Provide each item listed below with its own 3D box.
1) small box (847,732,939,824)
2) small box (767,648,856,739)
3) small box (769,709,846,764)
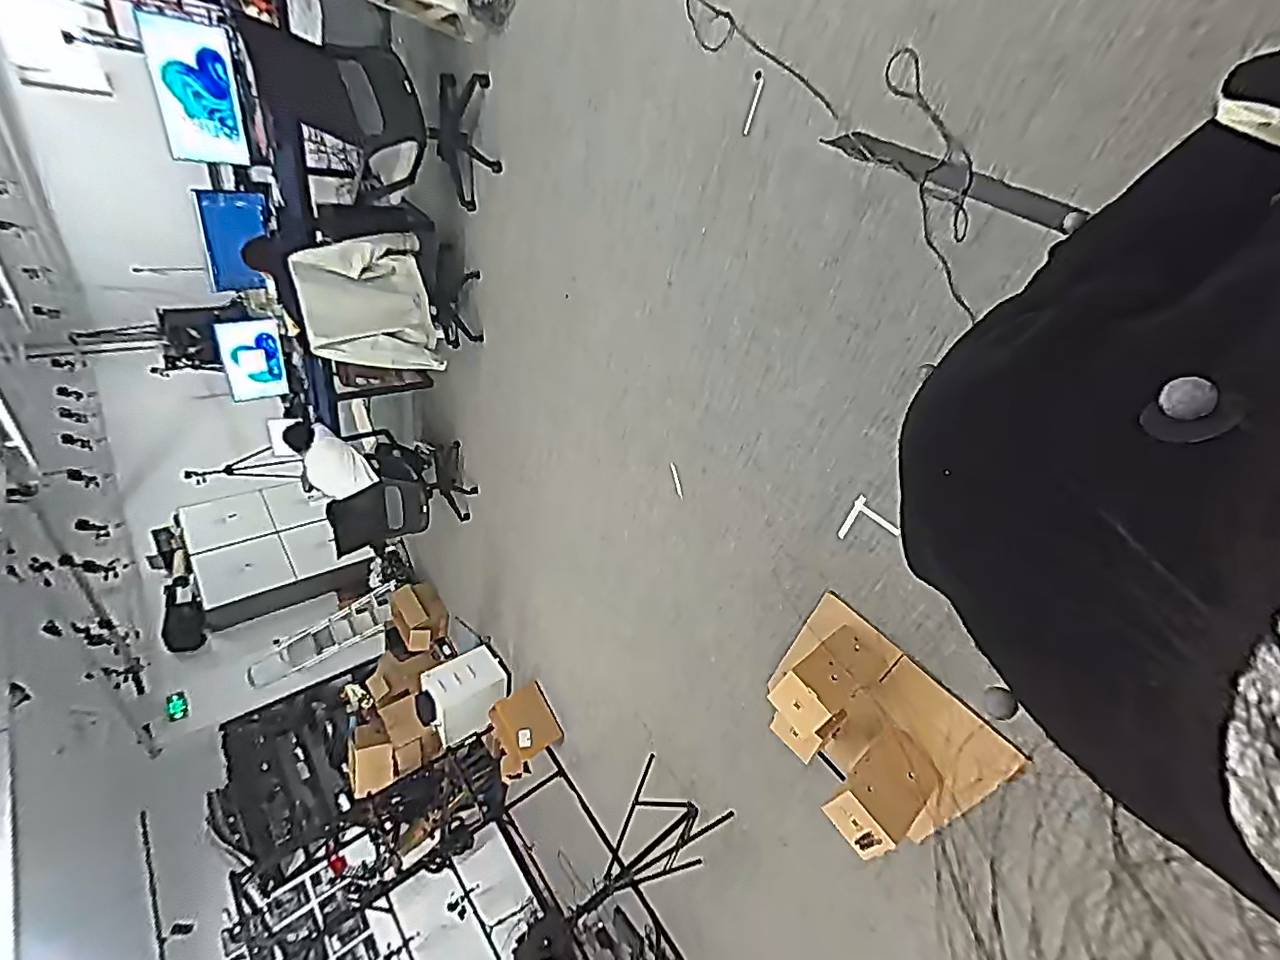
[{"bbox_3d":[0.813,0.951,1.732,0.179,0.176,0.168,49,137,24],"label":"small box"},{"bbox_3d":[0.538,0.662,1.686,0.168,0.176,0.179,46,135,29],"label":"small box"},{"bbox_3d":[0.606,0.873,1.958,0.179,0.176,0.168,40,134,35],"label":"small box"}]
